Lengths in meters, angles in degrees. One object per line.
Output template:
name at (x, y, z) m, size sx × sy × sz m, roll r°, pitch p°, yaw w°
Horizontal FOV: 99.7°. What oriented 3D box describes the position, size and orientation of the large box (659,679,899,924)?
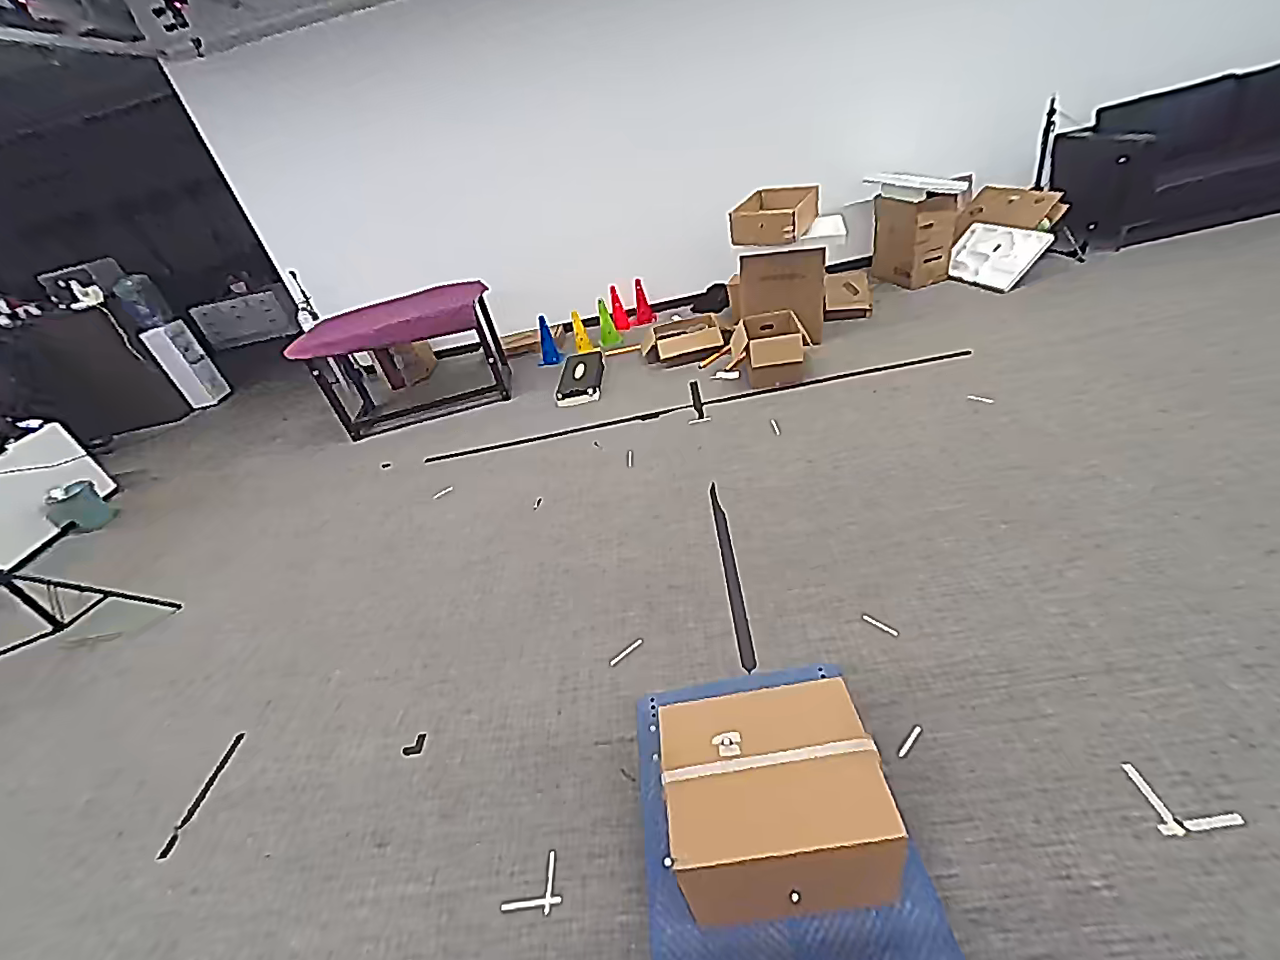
large box at (0.277, 0.678, 1.144) m, size 0.408 × 0.320 × 0.320 m, roll -12°, pitch 33°, yaw 5°
